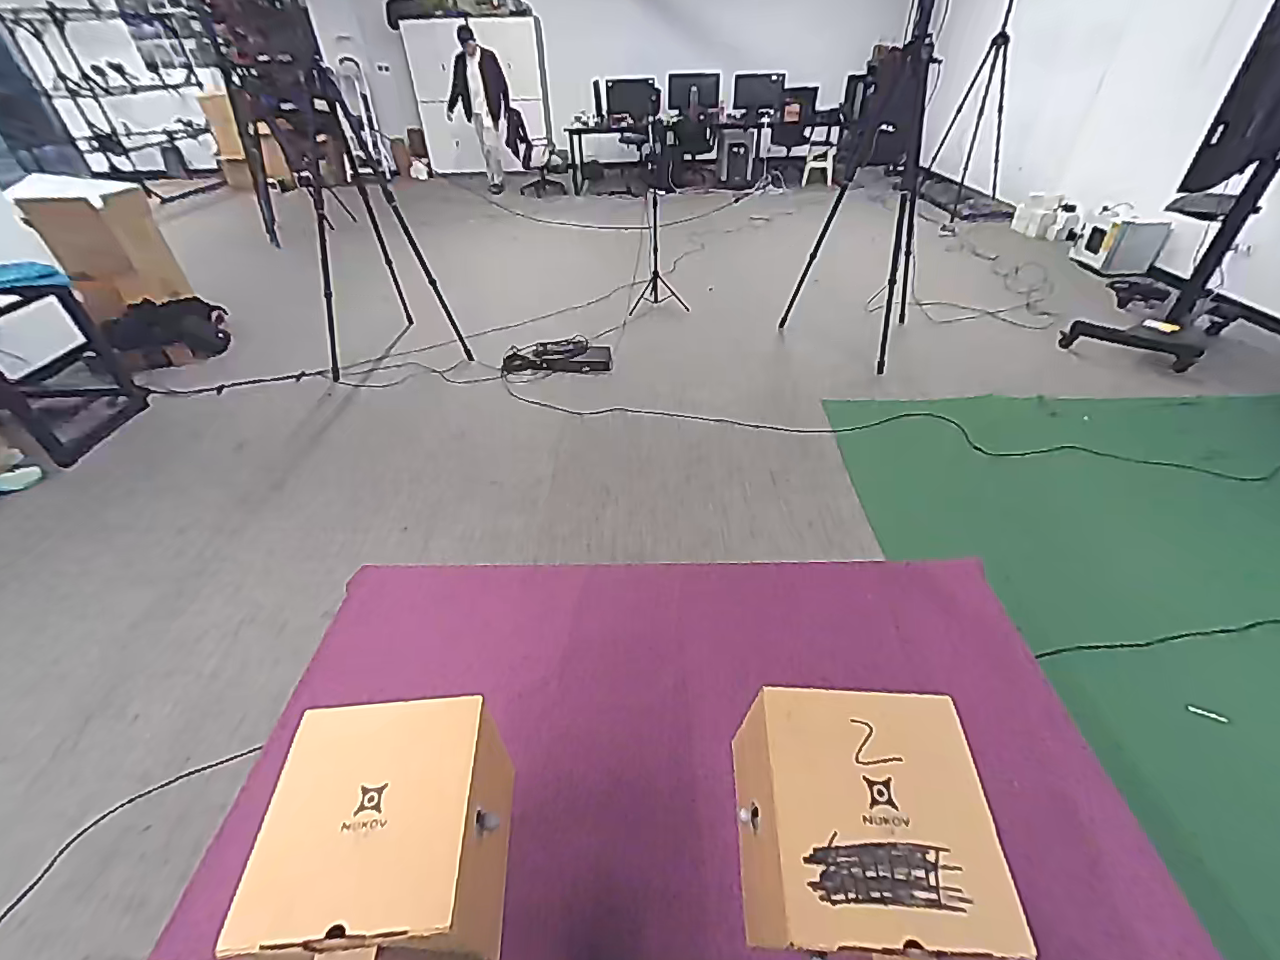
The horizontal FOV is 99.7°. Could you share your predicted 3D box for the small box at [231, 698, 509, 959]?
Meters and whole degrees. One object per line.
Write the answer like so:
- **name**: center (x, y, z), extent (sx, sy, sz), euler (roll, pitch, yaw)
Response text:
- **small box**: center (-0.224, 0.333, 0.512), extent (0.168, 0.176, 0.179), euler (-4, 43, -3)
